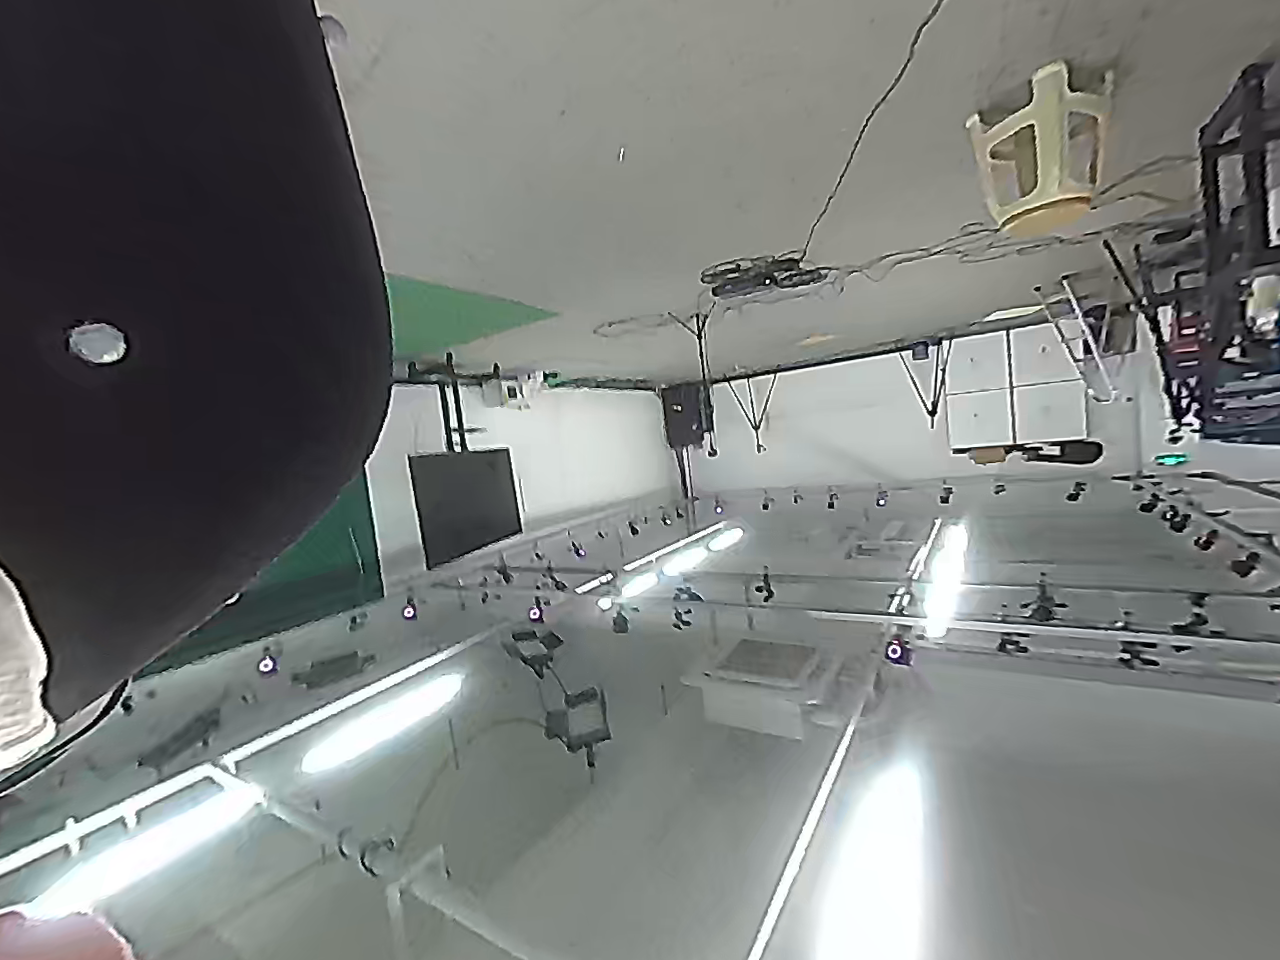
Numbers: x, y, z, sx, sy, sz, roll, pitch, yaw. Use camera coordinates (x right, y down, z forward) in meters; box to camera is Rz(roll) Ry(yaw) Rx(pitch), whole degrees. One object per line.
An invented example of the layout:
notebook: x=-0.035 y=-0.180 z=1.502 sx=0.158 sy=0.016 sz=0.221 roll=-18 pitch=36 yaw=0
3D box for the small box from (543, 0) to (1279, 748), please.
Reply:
small box: x=0.090 y=-0.060 z=0.135 sx=0.168 sy=0.176 sz=0.179 roll=41 pitch=76 yaw=-8
